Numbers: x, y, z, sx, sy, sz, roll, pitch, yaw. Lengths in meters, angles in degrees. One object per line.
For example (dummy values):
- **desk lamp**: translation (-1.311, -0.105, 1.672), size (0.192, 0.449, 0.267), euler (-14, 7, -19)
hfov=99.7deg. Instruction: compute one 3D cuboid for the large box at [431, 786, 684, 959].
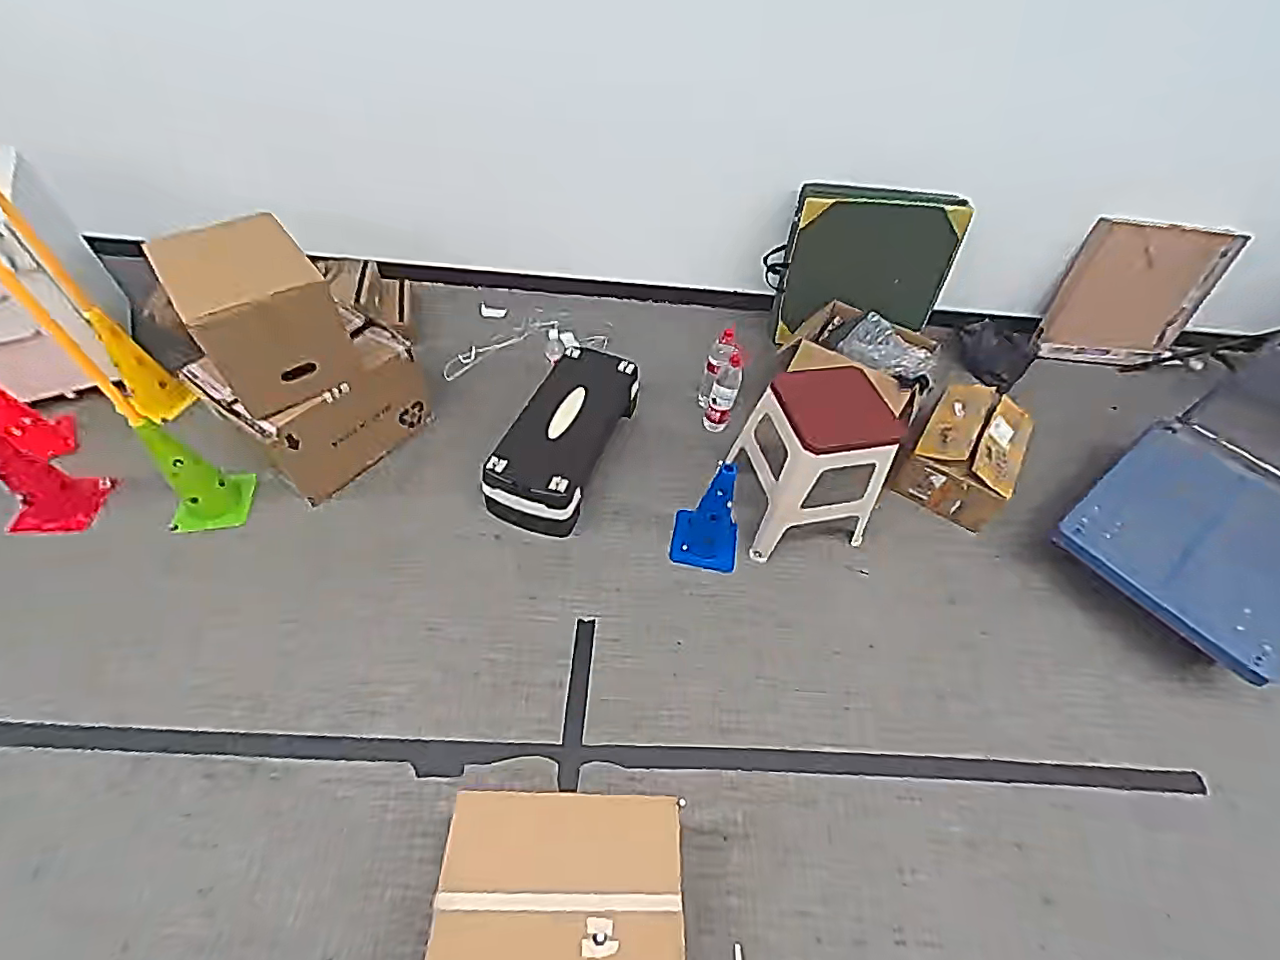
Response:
- **large box**: translation (-0.143, 0.780, 1.012), size (0.408, 0.320, 0.320), euler (4, 52, -4)
